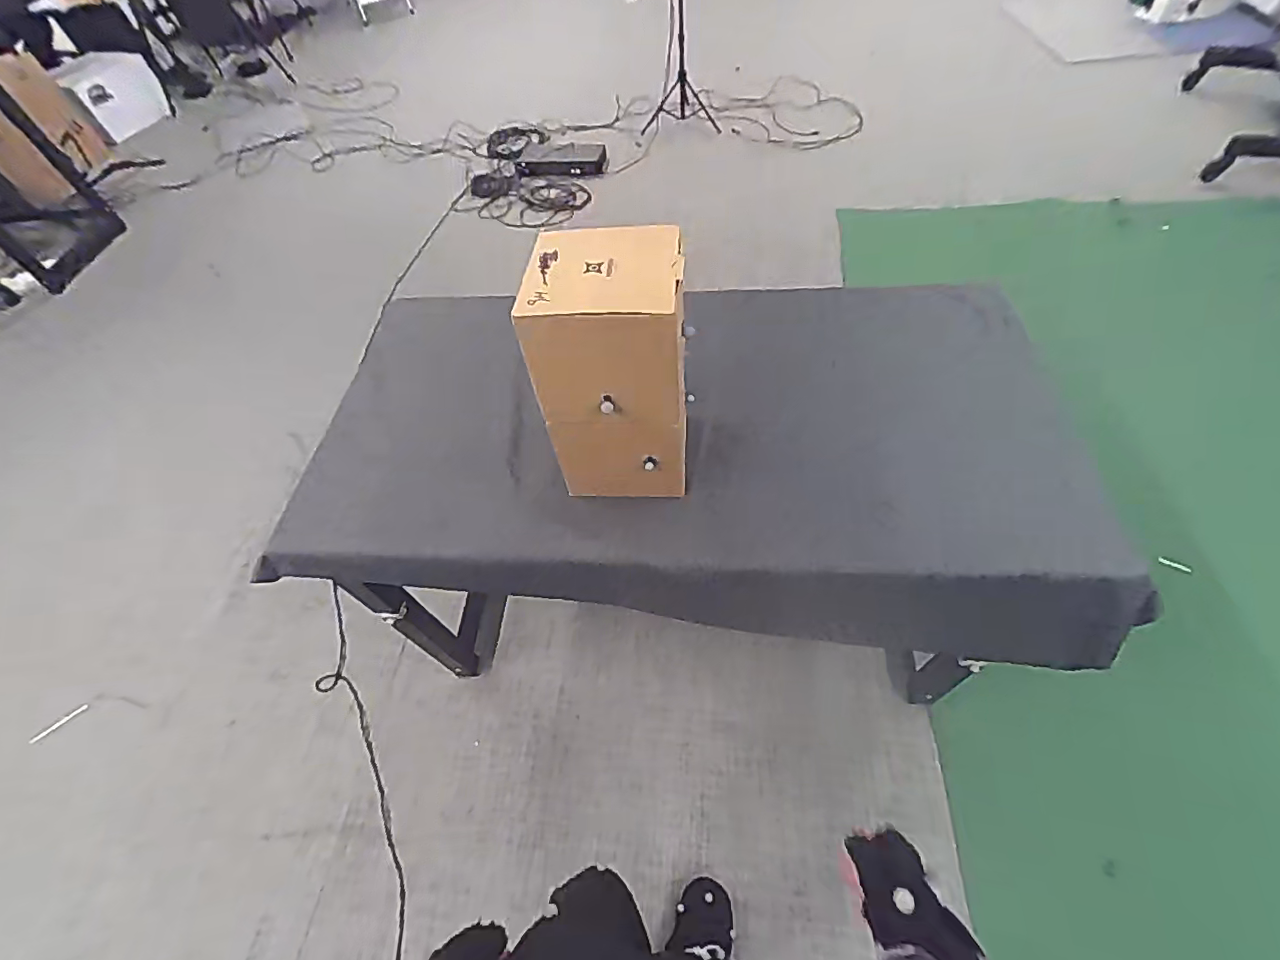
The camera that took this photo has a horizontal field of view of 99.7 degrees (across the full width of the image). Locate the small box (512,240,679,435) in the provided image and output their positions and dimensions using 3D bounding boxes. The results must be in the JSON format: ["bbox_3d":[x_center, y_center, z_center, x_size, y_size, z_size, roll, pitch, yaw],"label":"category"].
[{"bbox_3d":[-0.040,-0.171,0.673,0.179,0.176,0.168,-2,54,5],"label":"small box"}]

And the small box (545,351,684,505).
[{"bbox_3d":[-0.024,-0.075,0.802,0.179,0.176,0.168,-1,53,7],"label":"small box"}]
